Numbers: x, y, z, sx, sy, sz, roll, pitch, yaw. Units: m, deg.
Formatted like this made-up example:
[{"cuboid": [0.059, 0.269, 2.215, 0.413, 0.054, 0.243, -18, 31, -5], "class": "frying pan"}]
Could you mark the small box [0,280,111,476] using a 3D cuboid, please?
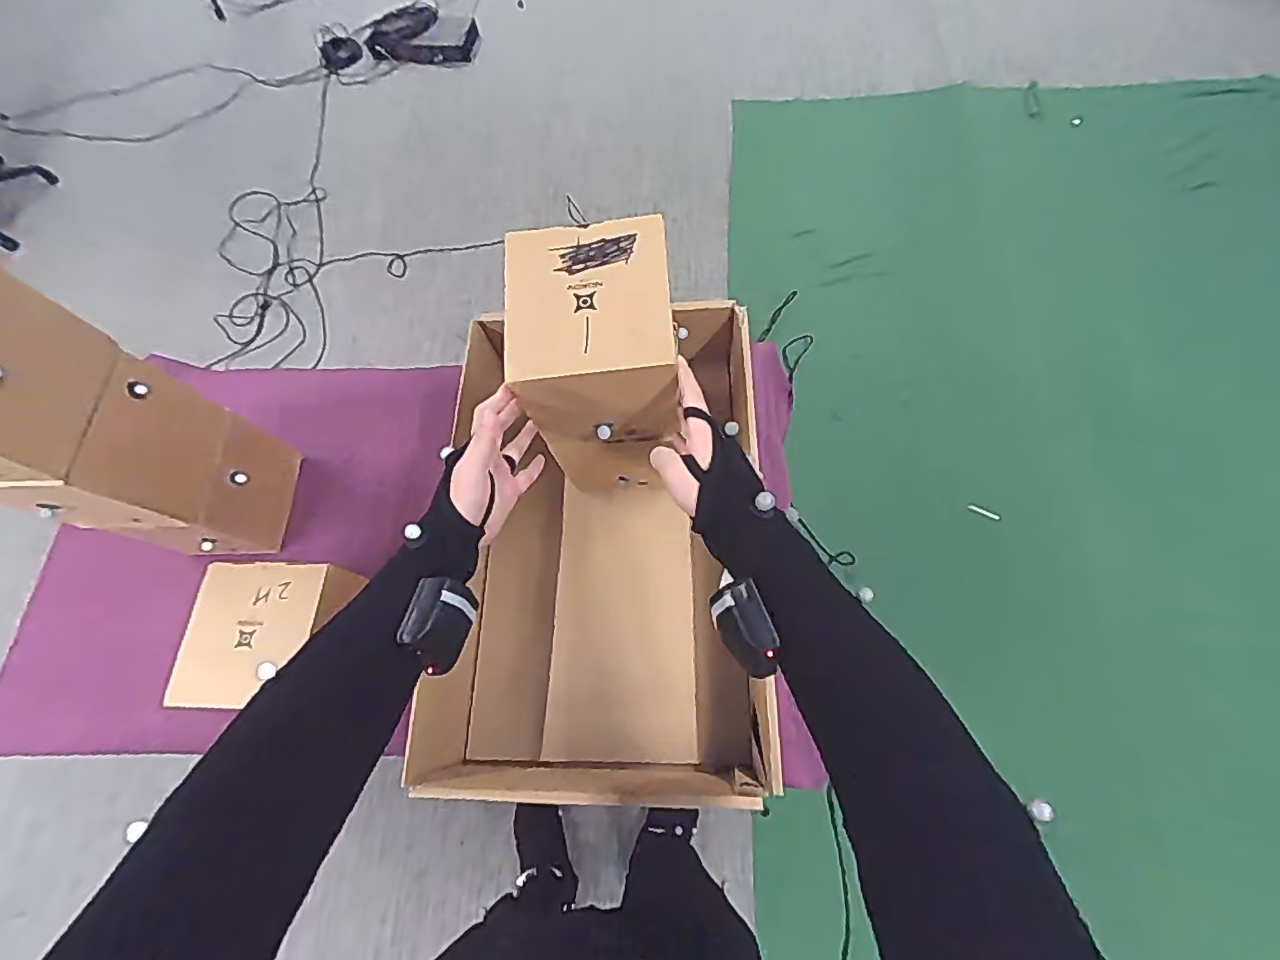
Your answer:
[{"cuboid": [-0.694, -0.108, 0.533, 0.168, 0.176, 0.179, -1, 69, 3], "class": "small box"}]

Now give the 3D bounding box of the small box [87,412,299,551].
[{"cuboid": [-0.669, 0.010, 0.836, 0.168, 0.176, 0.179, 0, 69, 4], "class": "small box"}]

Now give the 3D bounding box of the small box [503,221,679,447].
[{"cuboid": [-0.045, -0.153, 0.607, 0.168, 0.176, 0.179, -5, 71, 5], "class": "small box"}]

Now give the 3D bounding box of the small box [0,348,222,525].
[{"cuboid": [-0.683, -0.044, 0.684, 0.168, 0.176, 0.179, -1, 68, 4], "class": "small box"}]

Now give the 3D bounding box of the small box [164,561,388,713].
[{"cuboid": [-0.472, 0.216, 0.736, 0.168, 0.176, 0.179, 1, 68, 5], "class": "small box"}]
